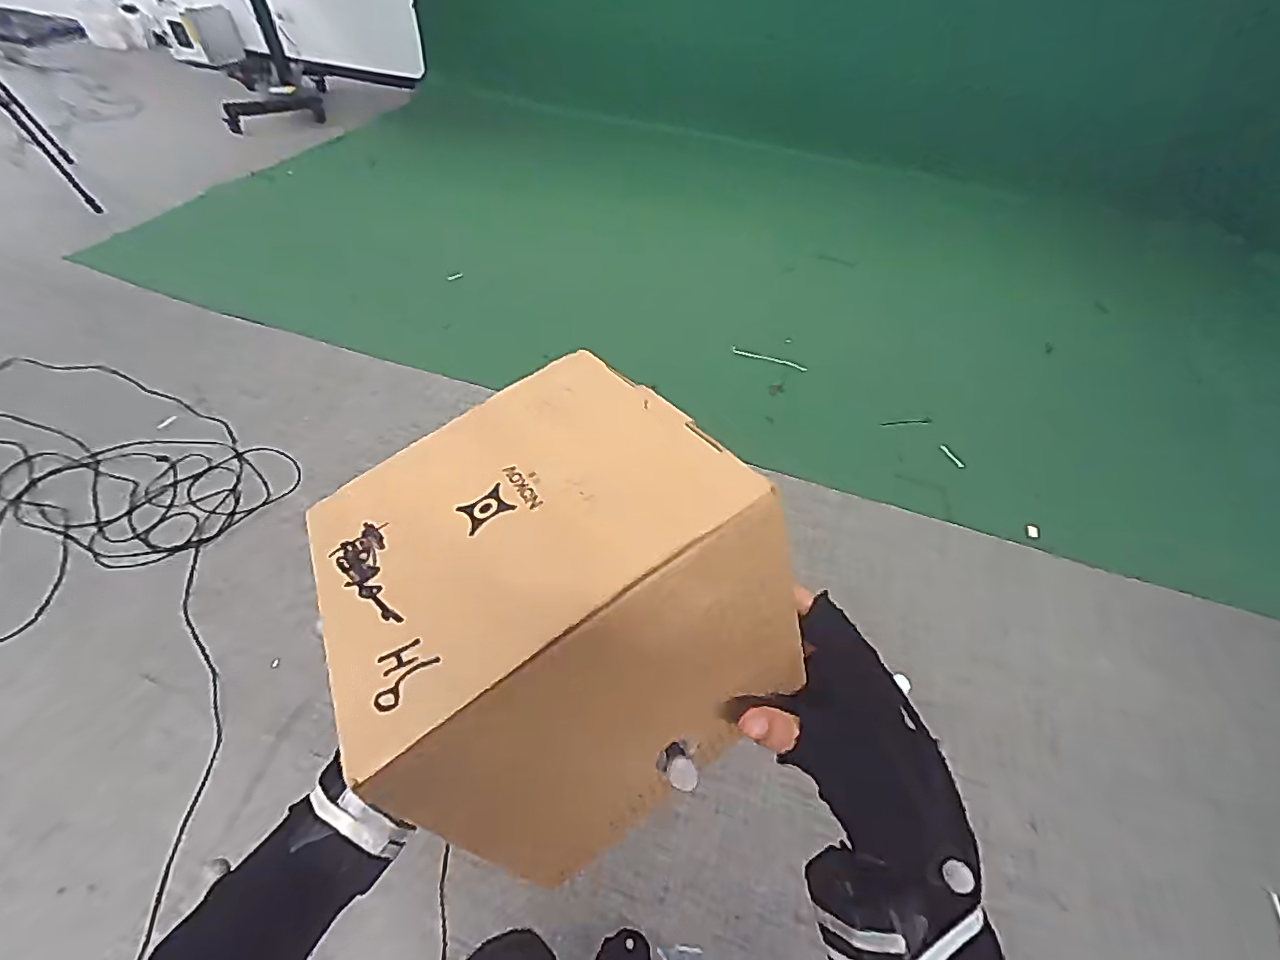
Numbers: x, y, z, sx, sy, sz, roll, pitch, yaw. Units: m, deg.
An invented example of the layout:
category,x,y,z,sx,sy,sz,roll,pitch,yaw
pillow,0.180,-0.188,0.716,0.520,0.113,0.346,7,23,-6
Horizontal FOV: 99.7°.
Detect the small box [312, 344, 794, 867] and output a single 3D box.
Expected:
category,x,y,z,sx,sy,sz,roll,pitch,yaw
small box,-0.036,0.061,0.293,0.179,0.176,0.168,-33,43,-14
